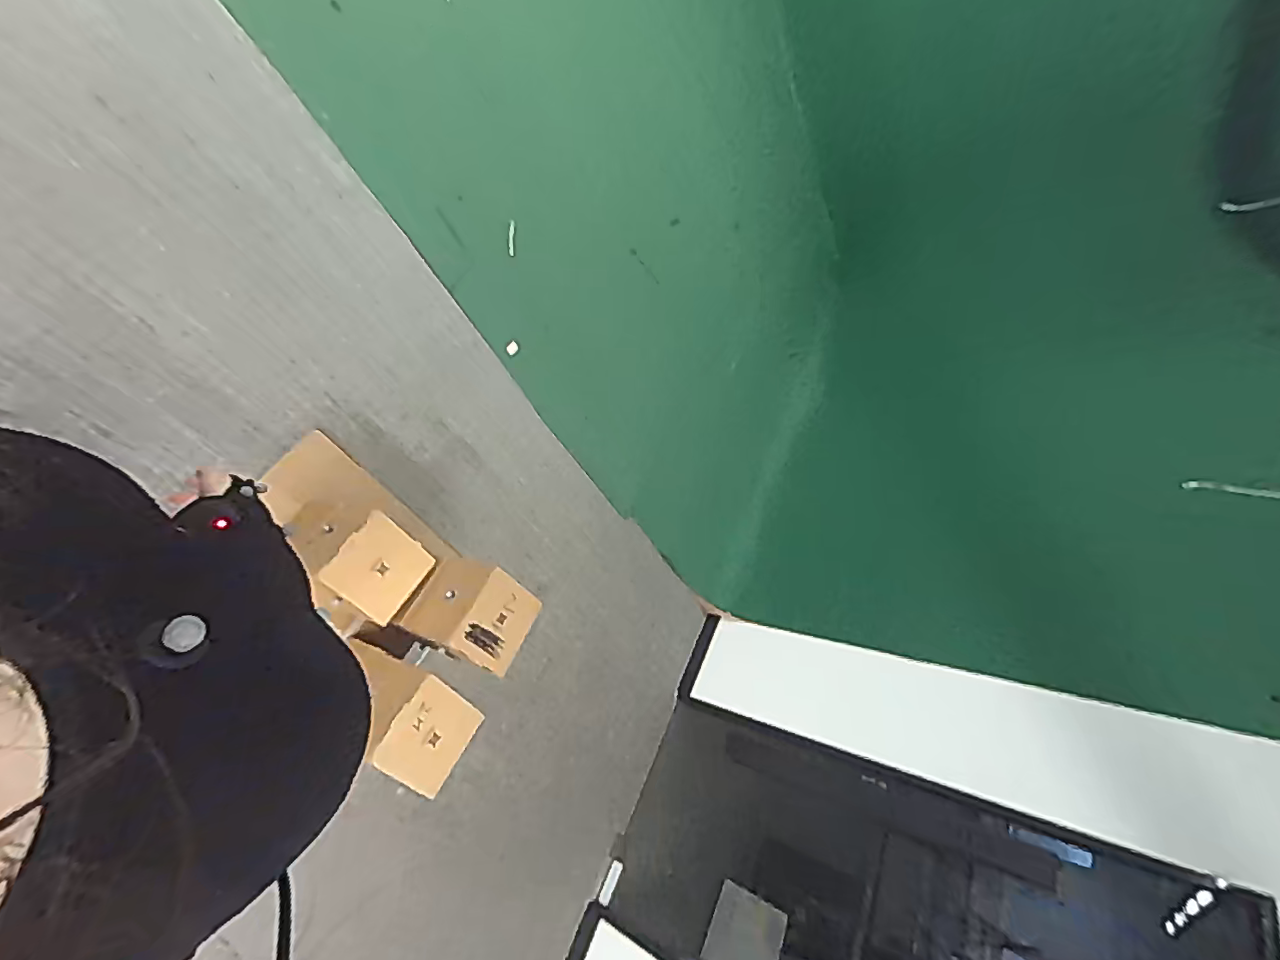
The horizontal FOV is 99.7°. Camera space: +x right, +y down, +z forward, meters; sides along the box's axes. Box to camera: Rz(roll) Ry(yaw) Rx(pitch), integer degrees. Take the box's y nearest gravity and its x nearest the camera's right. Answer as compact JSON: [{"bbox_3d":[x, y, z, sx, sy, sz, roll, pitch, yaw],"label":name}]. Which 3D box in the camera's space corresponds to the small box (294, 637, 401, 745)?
[{"bbox_3d":[-0.585,0.457,1.135,0.179,0.176,0.168,-60,135,-34],"label":"small box"}]

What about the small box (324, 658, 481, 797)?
[{"bbox_3d":[-0.451,0.465,1.035,0.168,0.176,0.179,-59,134,-35],"label":"small box"}]
